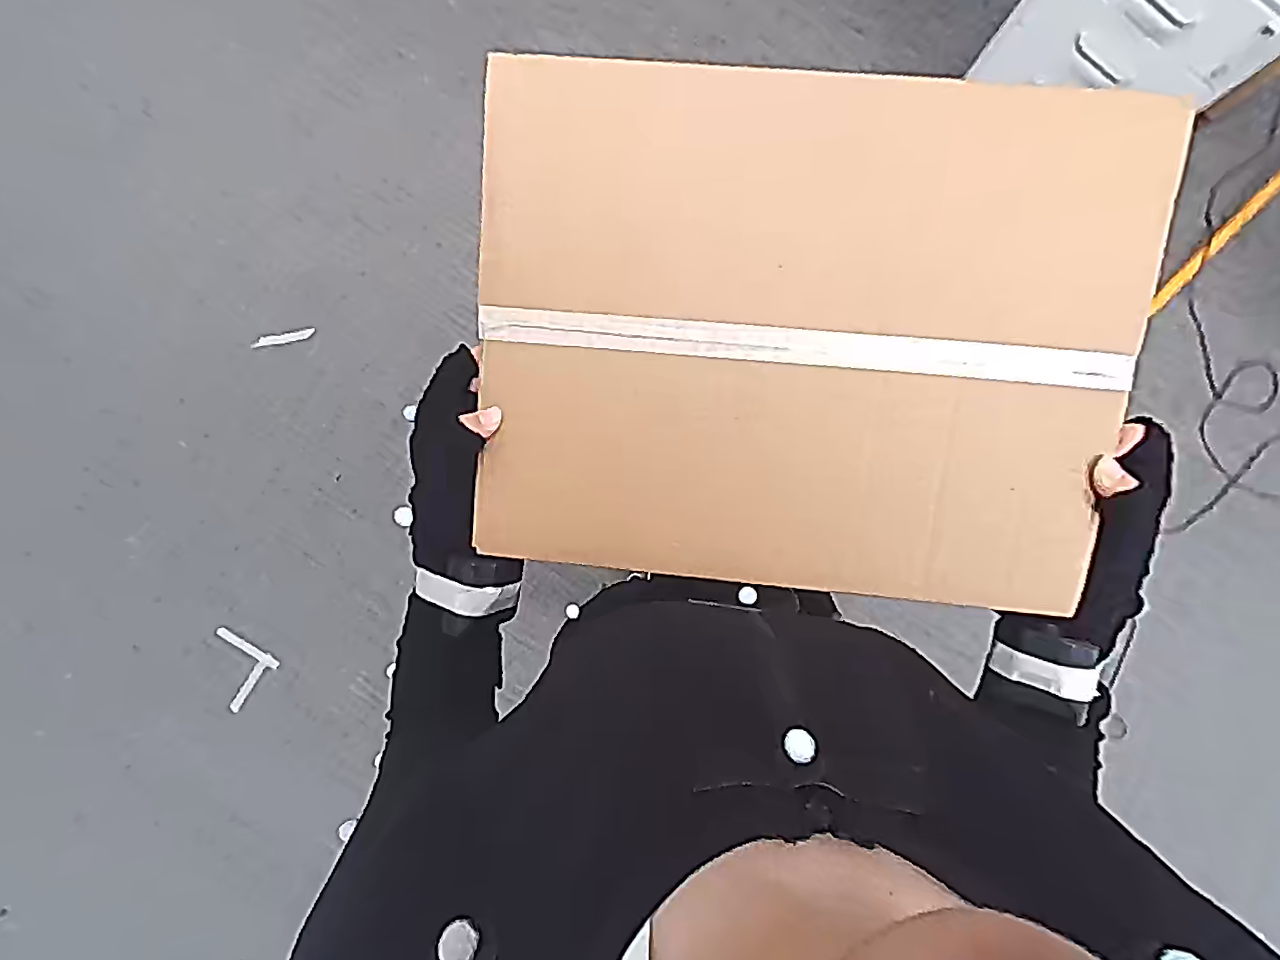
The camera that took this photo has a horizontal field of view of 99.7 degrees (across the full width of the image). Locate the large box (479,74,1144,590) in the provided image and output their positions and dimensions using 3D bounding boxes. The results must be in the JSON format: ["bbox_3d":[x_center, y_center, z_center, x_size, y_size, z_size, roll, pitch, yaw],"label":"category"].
[{"bbox_3d":[0.098,-0.112,0.497,0.408,0.320,0.320,5,101,2],"label":"large box"}]
